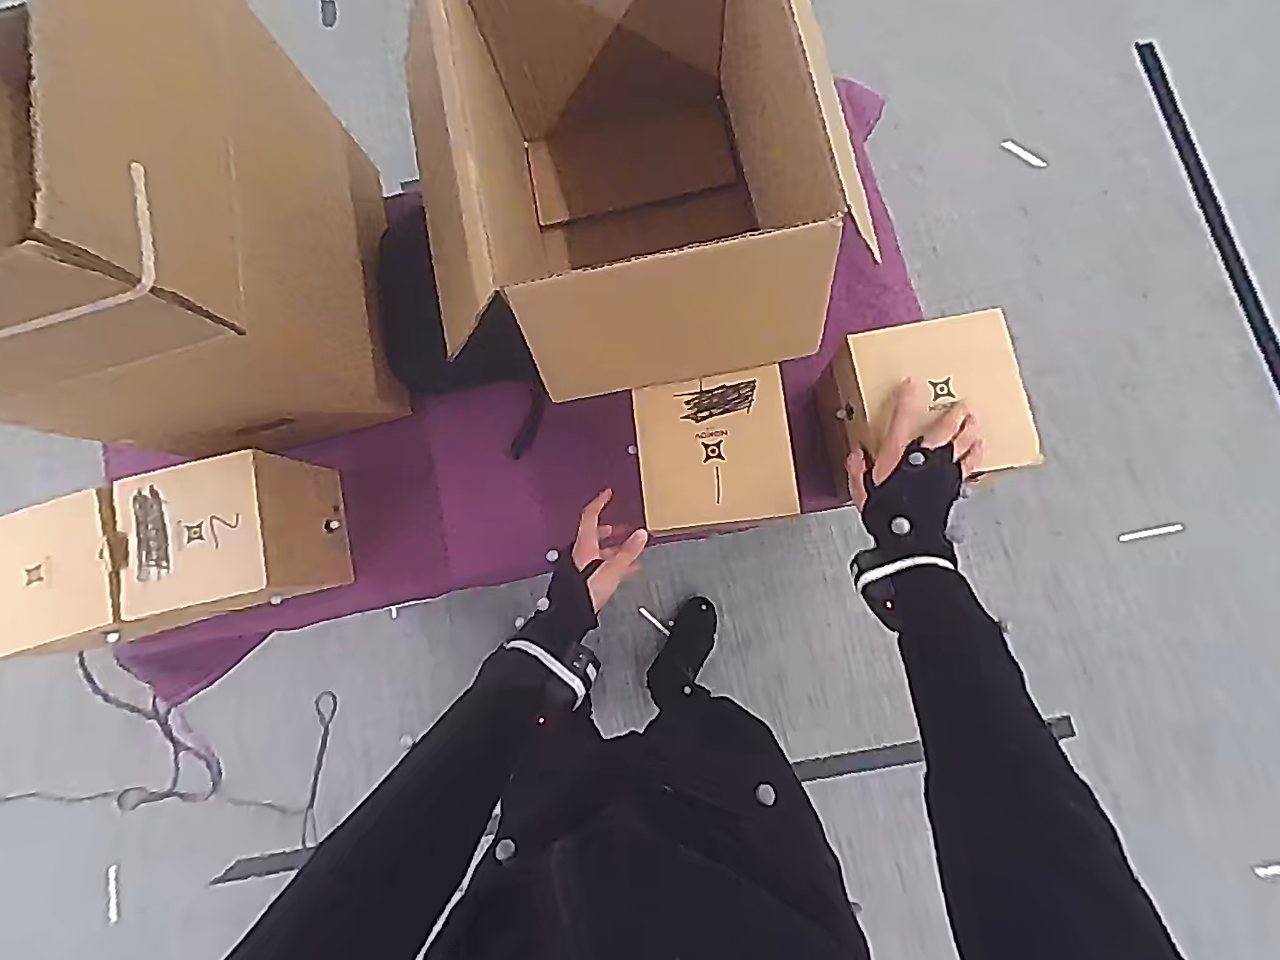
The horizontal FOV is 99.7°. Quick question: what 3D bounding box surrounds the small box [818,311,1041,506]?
[{"bbox_3d":[0.324,-0.073,0.648,0.168,0.176,0.179,-10,81,5],"label":"small box"}]
